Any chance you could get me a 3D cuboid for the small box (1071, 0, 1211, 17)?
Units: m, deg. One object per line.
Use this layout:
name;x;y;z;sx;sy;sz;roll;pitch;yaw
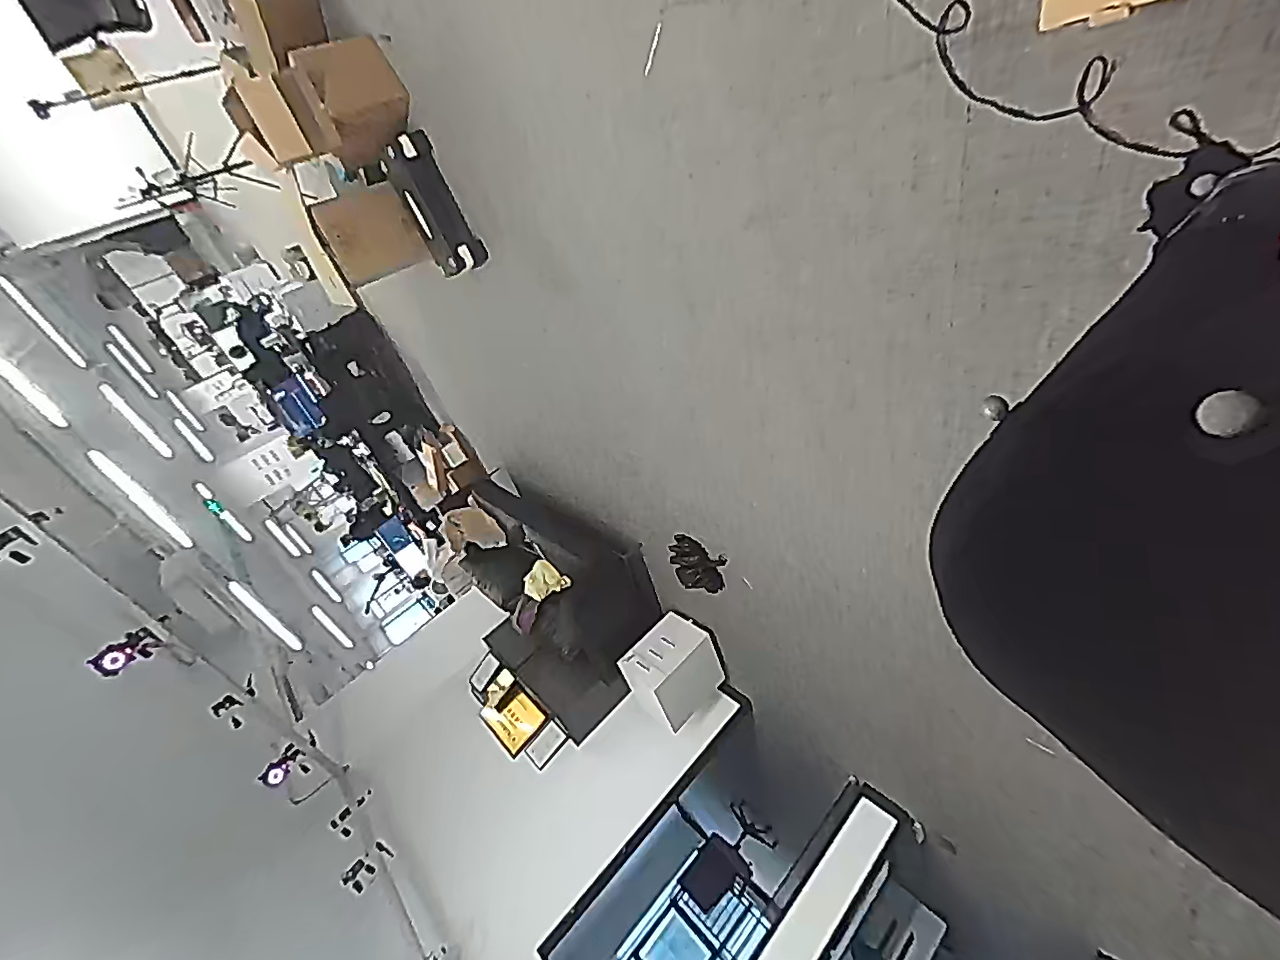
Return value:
small box;0.774;-0.801;0.778;0.168;0.176;0.179;30;148;37
